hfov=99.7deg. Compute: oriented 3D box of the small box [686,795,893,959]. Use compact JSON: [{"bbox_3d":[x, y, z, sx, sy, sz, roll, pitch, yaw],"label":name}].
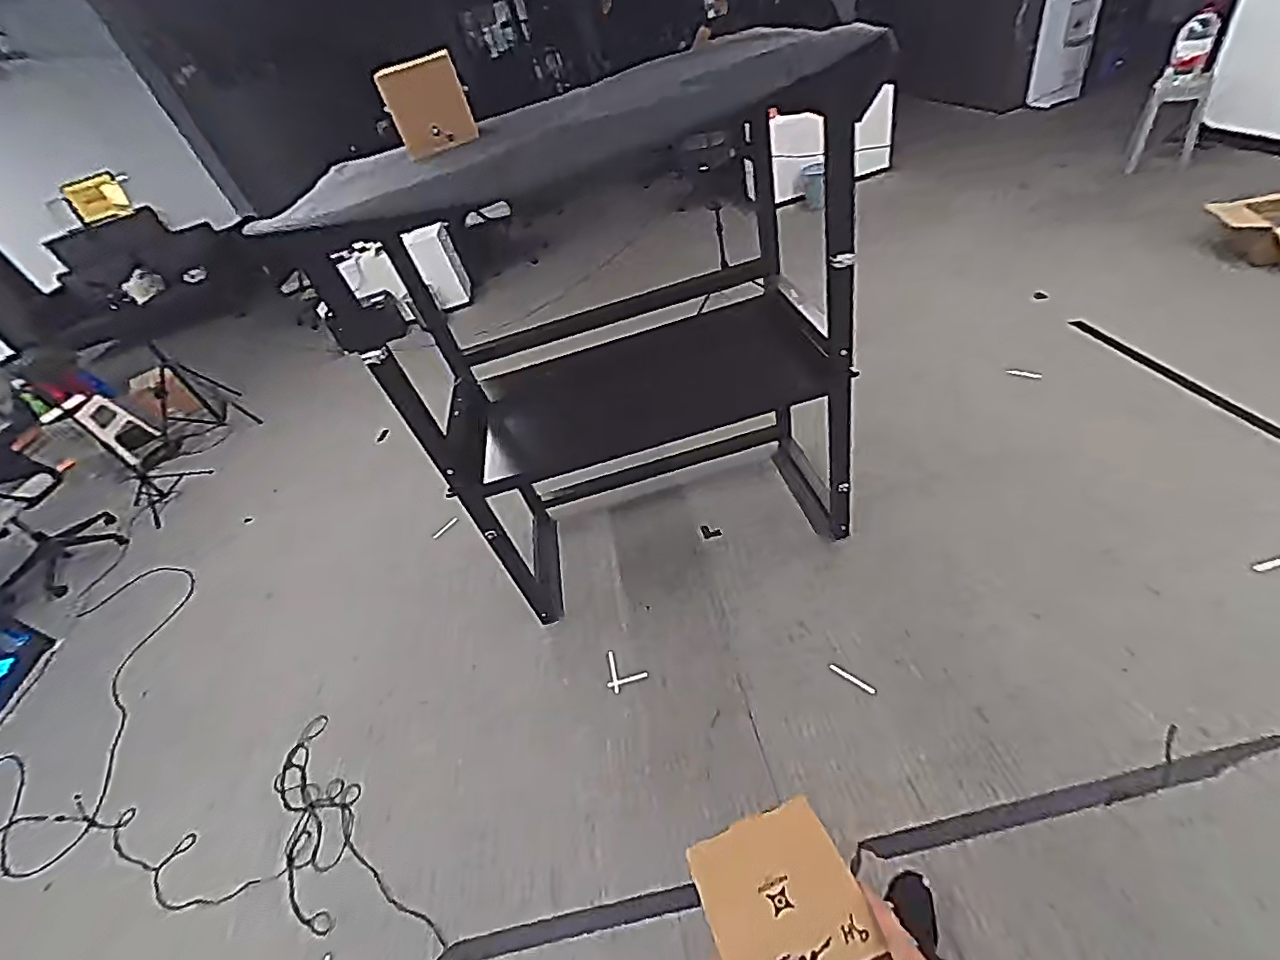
[{"bbox_3d":[0.171,0.523,0.628,0.168,0.176,0.179,-21,25,-7],"label":"small box"}]
